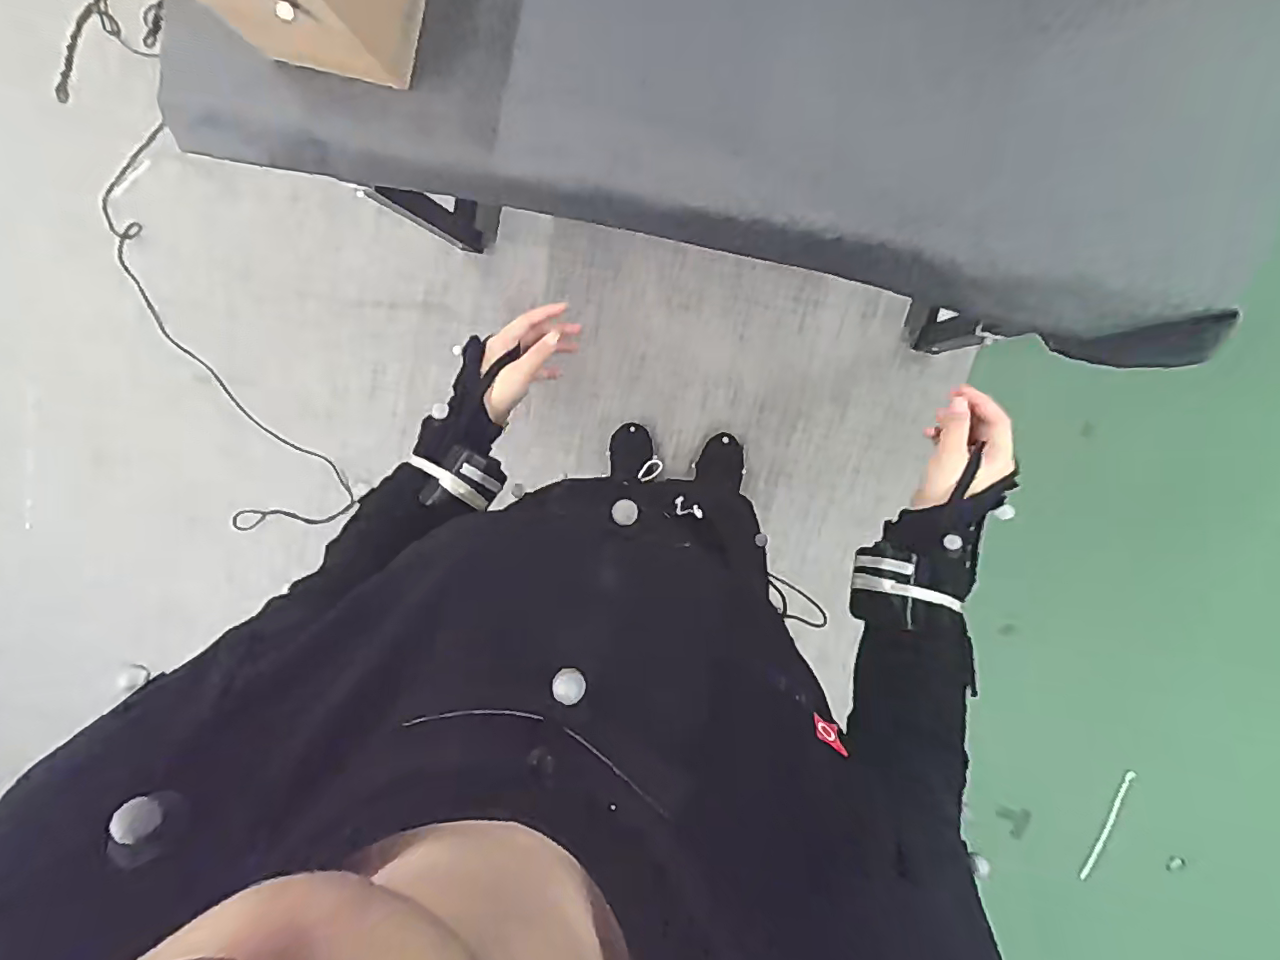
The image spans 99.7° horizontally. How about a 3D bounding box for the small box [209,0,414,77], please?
[{"bbox_3d":[-0.328,-0.529,0.514,0.179,0.176,0.168,17,98,5],"label":"small box"}]
